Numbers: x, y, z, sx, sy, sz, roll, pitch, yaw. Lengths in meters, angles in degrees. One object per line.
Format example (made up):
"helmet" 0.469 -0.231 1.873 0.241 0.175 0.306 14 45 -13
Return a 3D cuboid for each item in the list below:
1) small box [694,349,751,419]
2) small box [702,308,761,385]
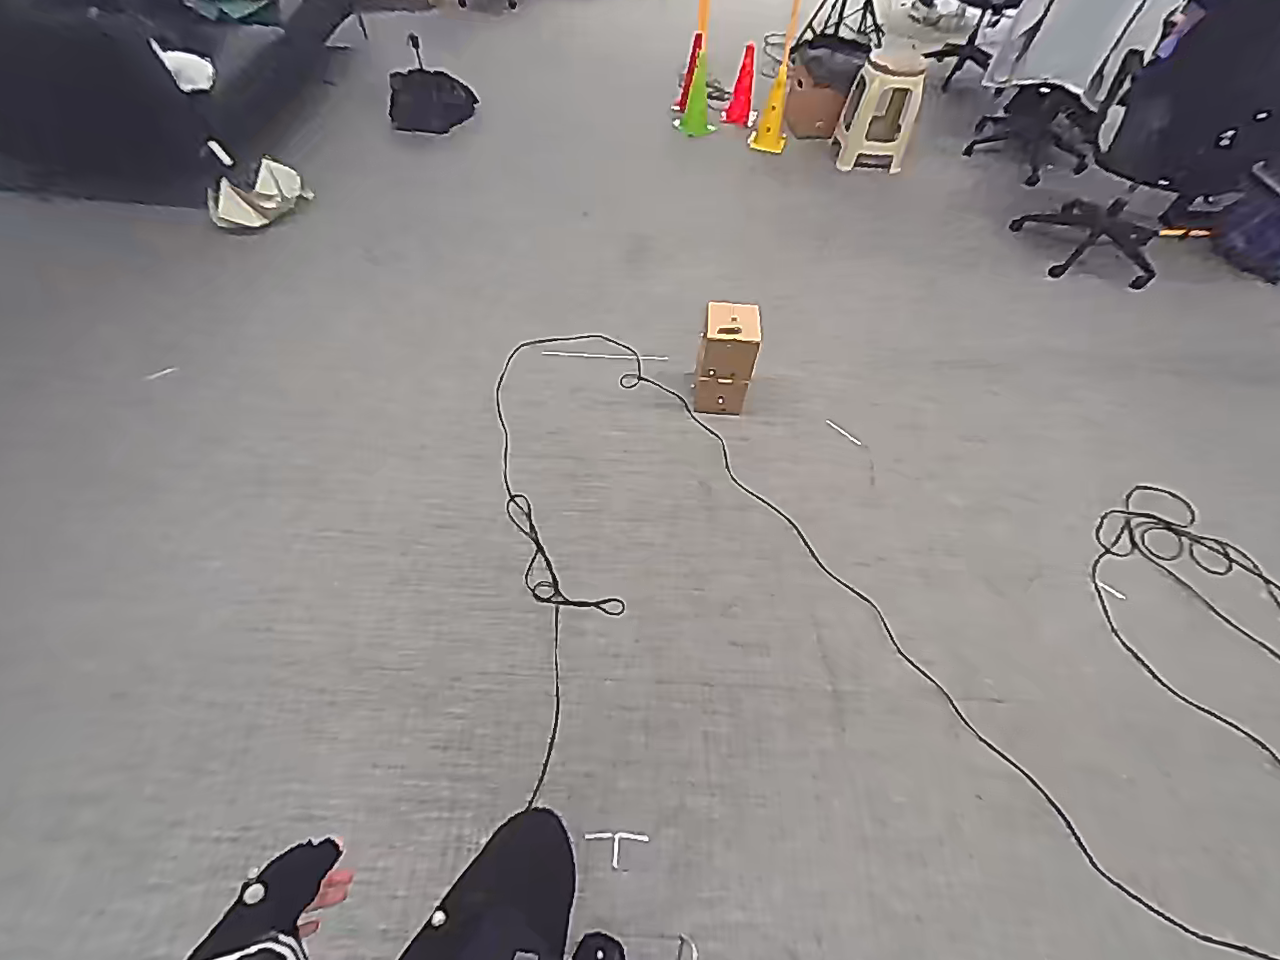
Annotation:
"small box" 0.283 -0.333 1.891 0.168 0.176 0.179 4 58 -3
"small box" 0.294 -0.429 1.755 0.168 0.176 0.179 5 55 1
